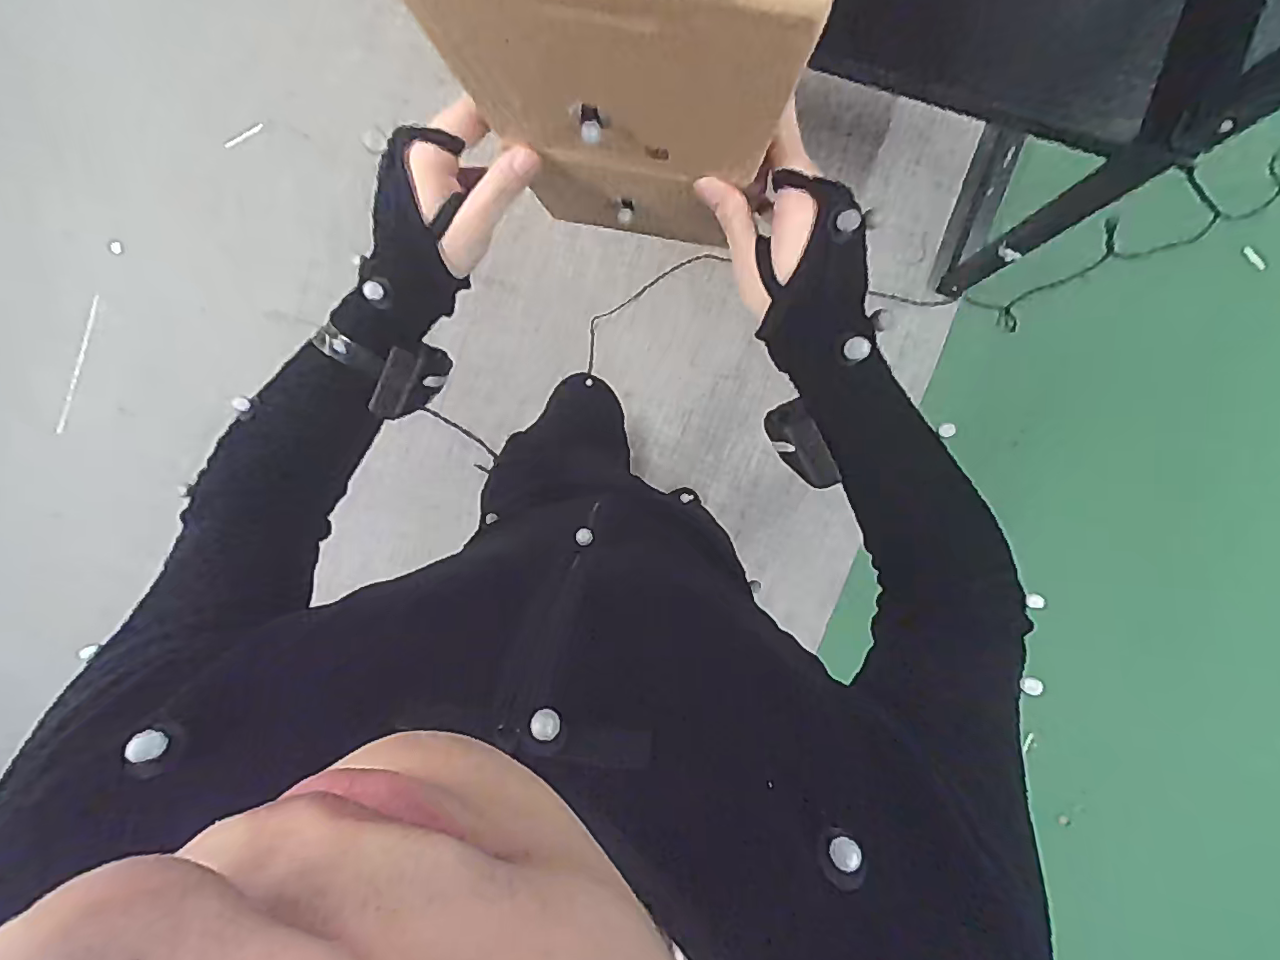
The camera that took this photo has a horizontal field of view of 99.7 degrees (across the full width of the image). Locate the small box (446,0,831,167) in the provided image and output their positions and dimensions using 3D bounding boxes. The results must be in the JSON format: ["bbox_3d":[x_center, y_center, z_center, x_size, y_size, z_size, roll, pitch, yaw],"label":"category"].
[{"bbox_3d":[0.003,-0.274,0.240,0.168,0.176,0.179,10,102,1],"label":"small box"}]
